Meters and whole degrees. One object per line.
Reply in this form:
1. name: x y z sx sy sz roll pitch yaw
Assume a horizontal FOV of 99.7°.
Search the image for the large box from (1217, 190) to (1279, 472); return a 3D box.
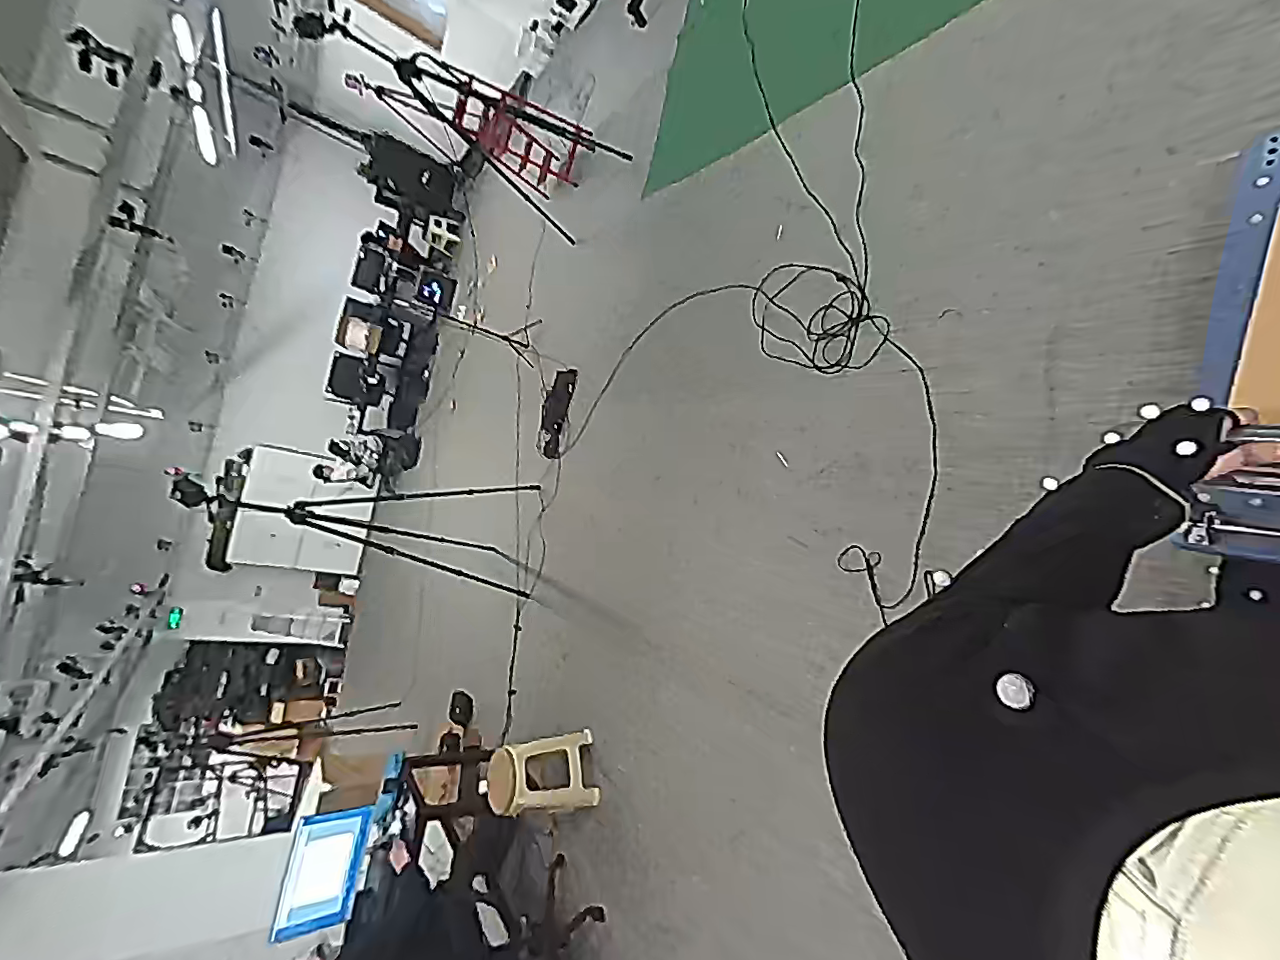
1. large box: 1.177 -0.223 0.830 0.320 0.320 0.408 15 90 55
